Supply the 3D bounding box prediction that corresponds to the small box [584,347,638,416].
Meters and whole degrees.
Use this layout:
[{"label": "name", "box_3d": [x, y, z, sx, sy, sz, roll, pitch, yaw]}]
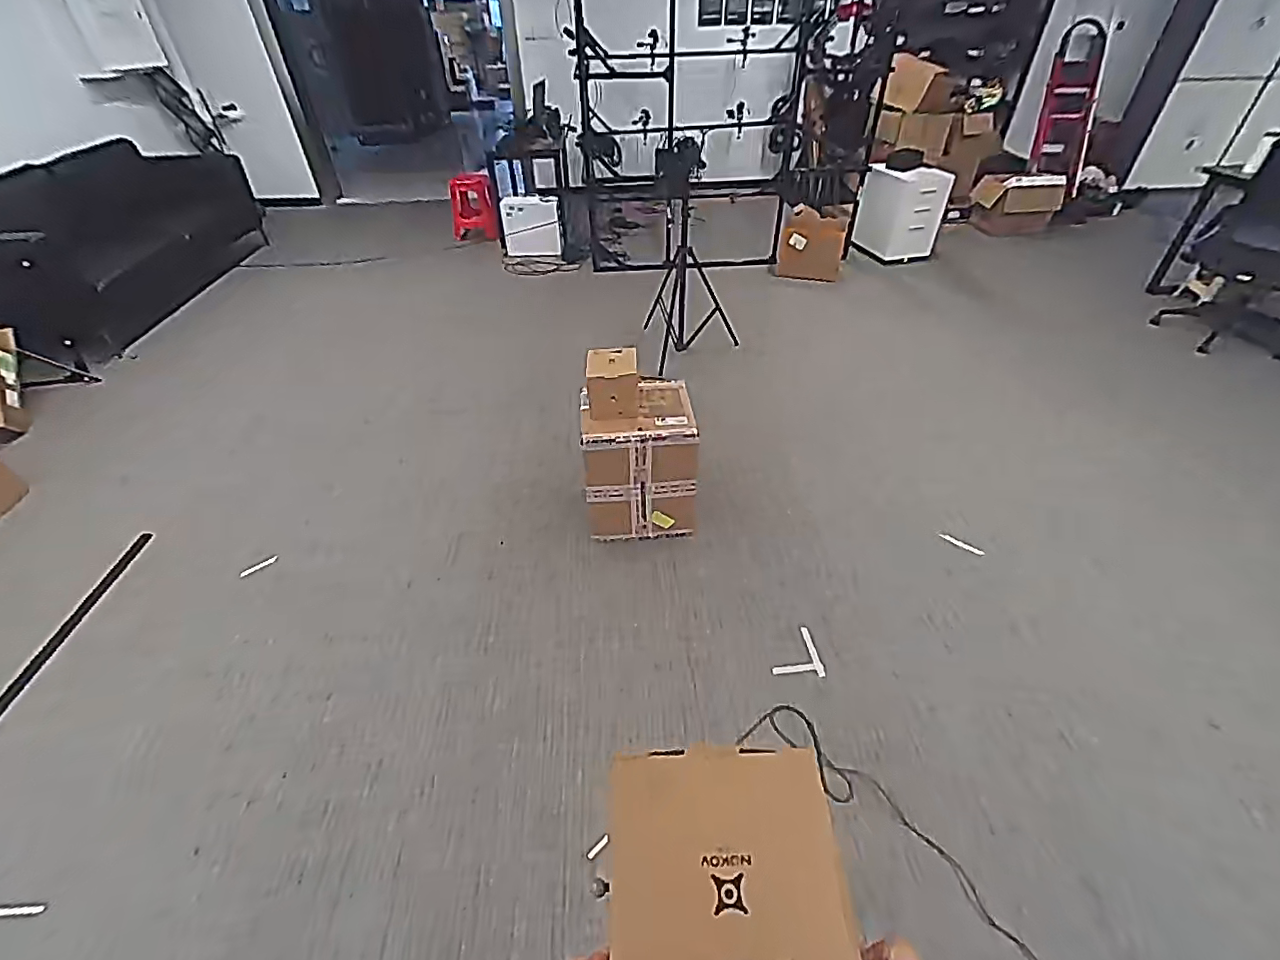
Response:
[{"label": "small box", "box_3d": [-0.094, -0.329, 1.830, 0.168, 0.176, 0.179, -3, 43, 1]}]
